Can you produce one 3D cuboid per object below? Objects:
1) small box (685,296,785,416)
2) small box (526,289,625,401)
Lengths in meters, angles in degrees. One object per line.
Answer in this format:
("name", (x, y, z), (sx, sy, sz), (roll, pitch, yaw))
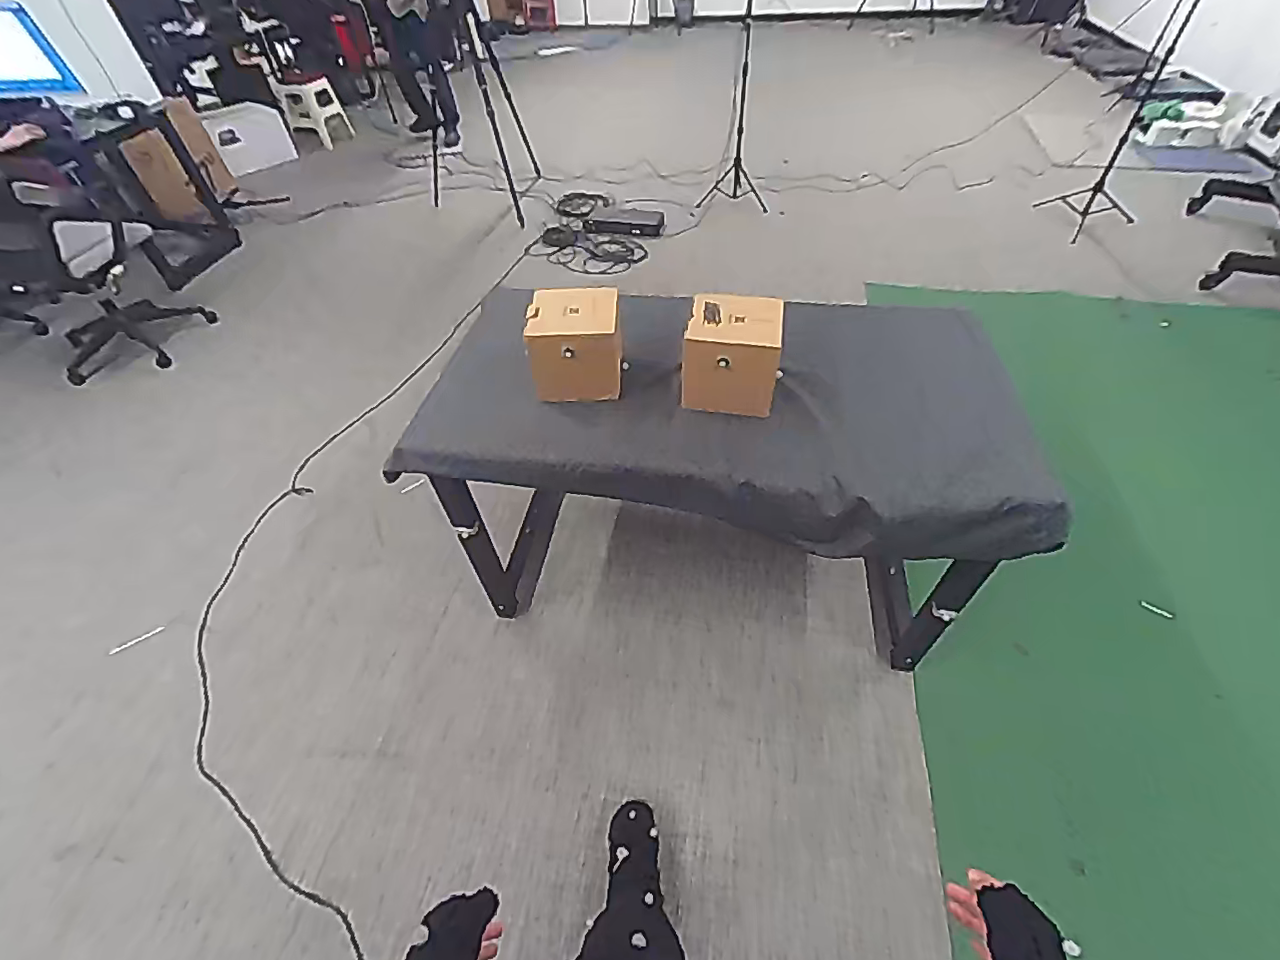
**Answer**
("small box", (0.186, -0.245, 1.079), (0.179, 0.176, 0.168), (8, 49, 9))
("small box", (-0.125, -0.277, 1.126), (0.179, 0.176, 0.168), (0, 50, 1))
